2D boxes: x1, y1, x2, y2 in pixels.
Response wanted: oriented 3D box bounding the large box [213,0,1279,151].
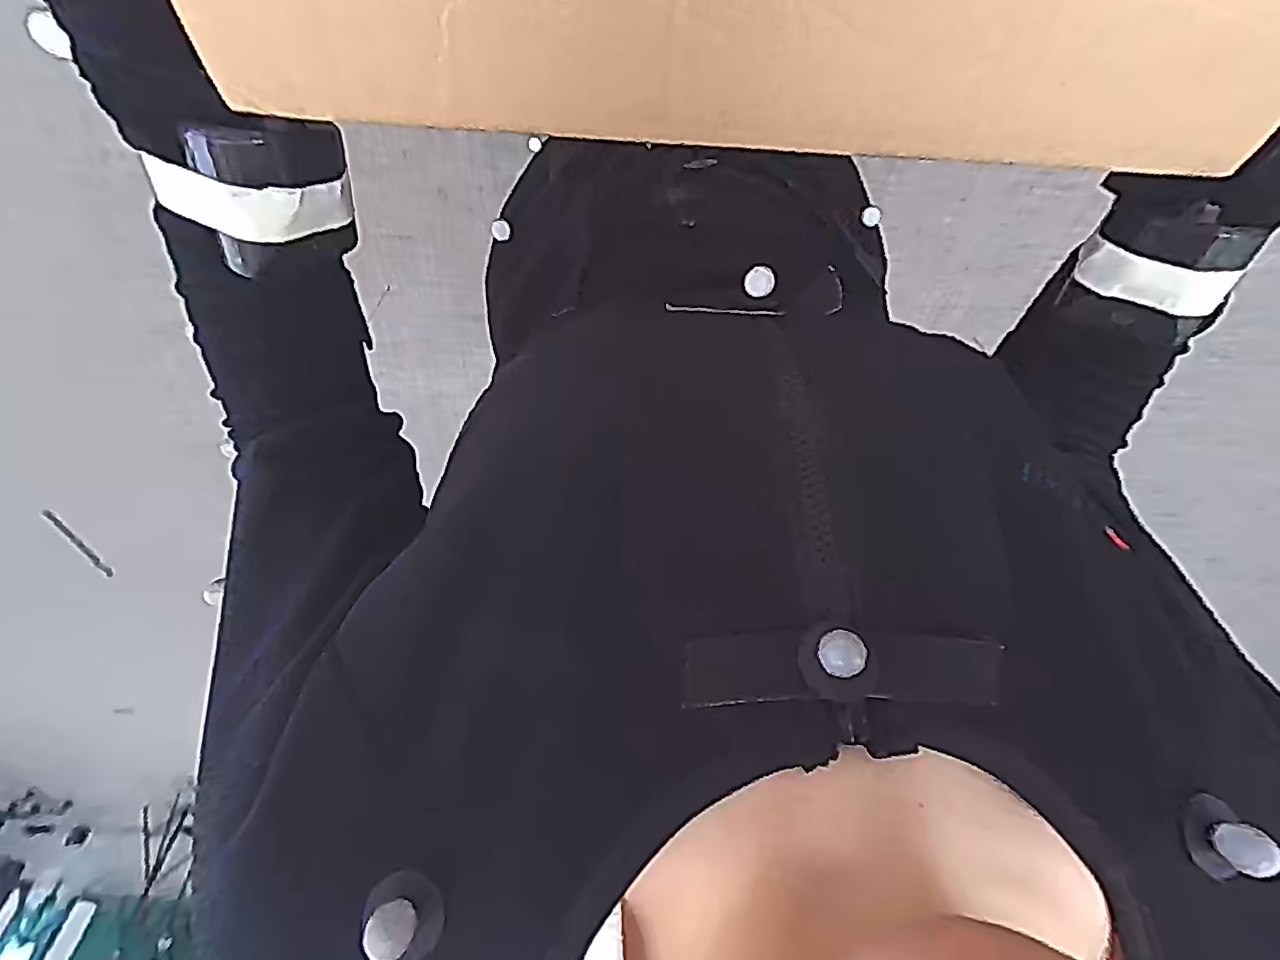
[{"bbox_3d":[0.052,-0.356,0.190,0.408,0.320,0.320,1,143,-3],"label":"large box"}]
